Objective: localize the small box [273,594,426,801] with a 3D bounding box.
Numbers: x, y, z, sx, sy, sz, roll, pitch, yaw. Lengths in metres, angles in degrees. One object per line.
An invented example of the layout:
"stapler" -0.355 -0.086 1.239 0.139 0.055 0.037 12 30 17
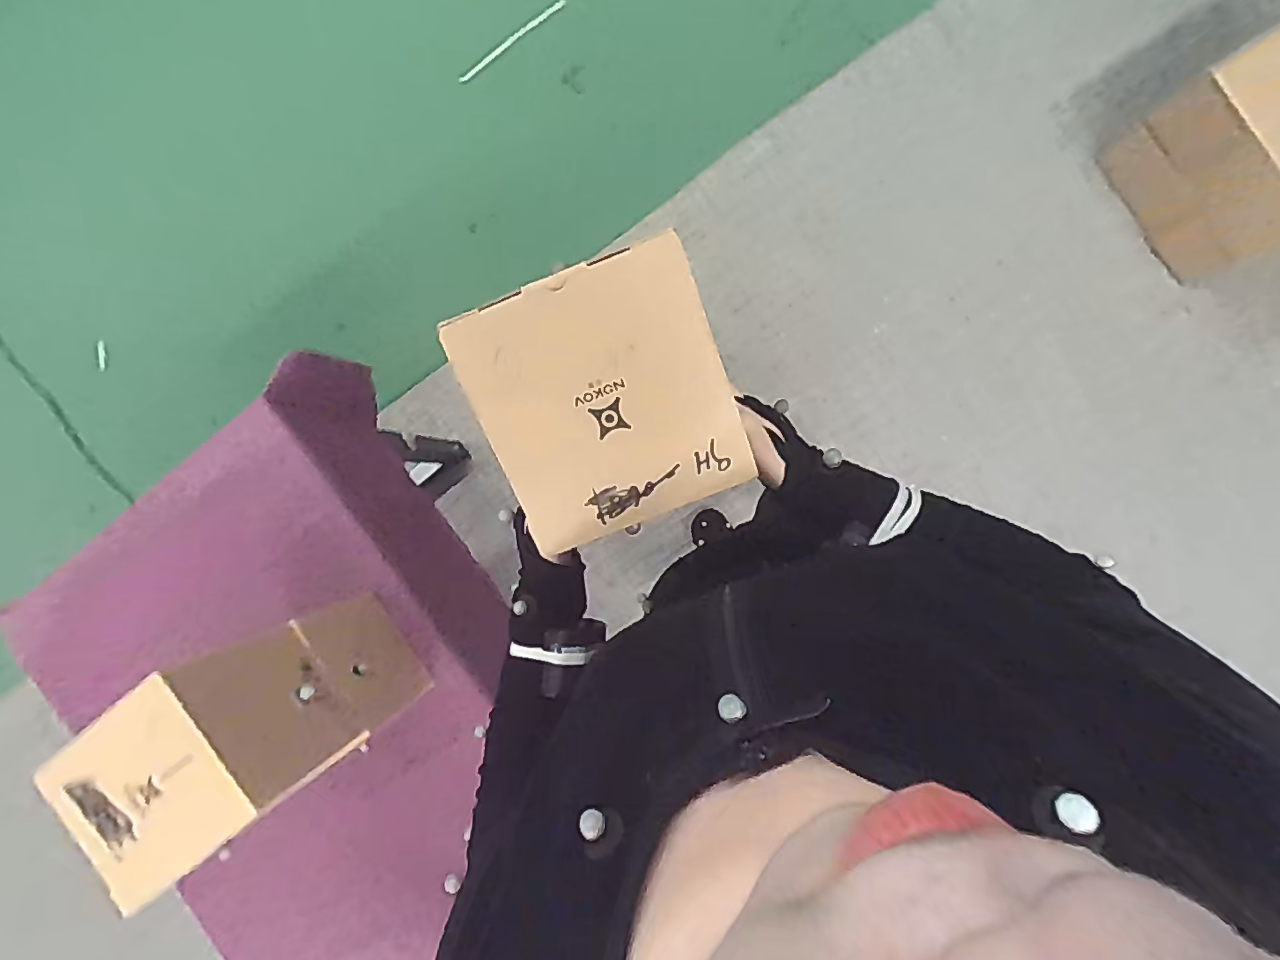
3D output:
"small box" -0.435 0.283 0.745 0.168 0.176 0.179 -36 87 4

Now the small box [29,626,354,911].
"small box" -0.459 0.288 0.582 0.179 0.176 0.168 -39 87 4

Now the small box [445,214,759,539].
"small box" -0.025 -0.083 0.435 0.168 0.176 0.179 -20 107 4
